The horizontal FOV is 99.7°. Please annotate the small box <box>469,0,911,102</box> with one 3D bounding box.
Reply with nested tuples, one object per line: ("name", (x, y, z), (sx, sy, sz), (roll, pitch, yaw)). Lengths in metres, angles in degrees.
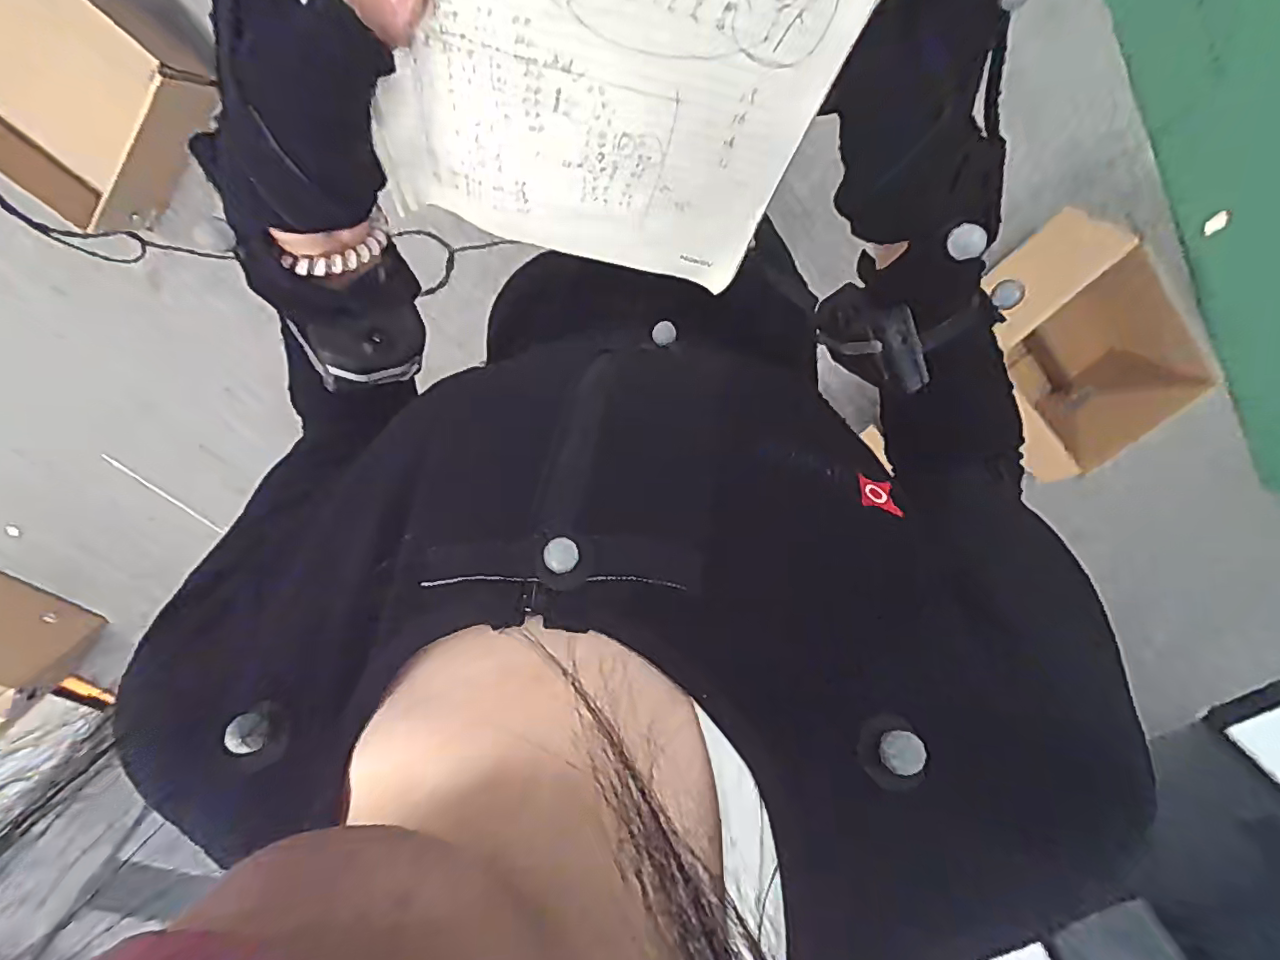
("small box", (0.015, -0.283, 0.208), (0.179, 0.176, 0.168), (-4, 150, 3))
